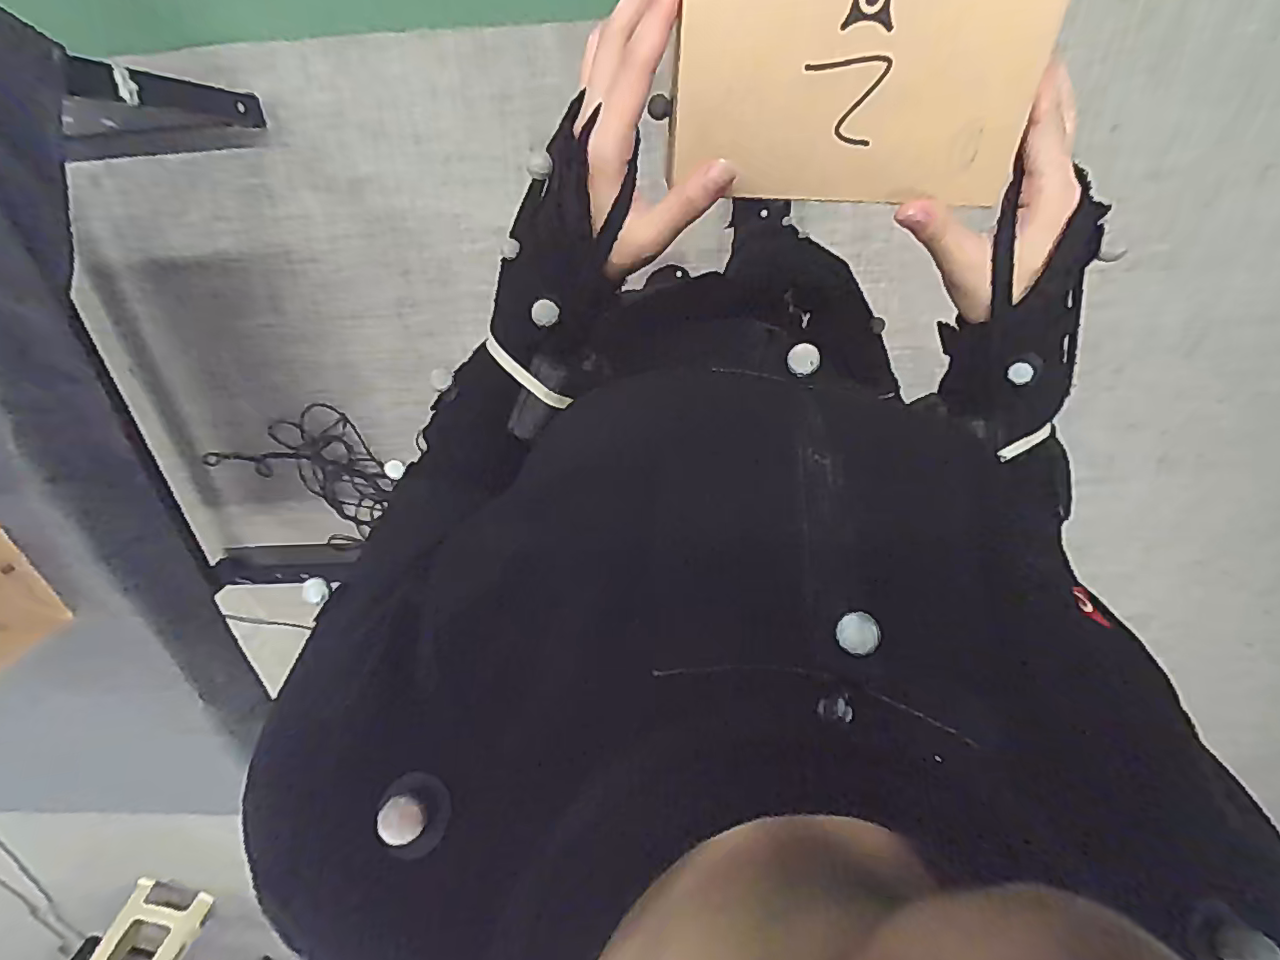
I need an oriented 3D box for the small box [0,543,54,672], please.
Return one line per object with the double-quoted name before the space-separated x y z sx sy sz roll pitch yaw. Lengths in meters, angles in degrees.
"small box" -0.911 0.180 0.674 0.179 0.176 0.168 -7 118 7
